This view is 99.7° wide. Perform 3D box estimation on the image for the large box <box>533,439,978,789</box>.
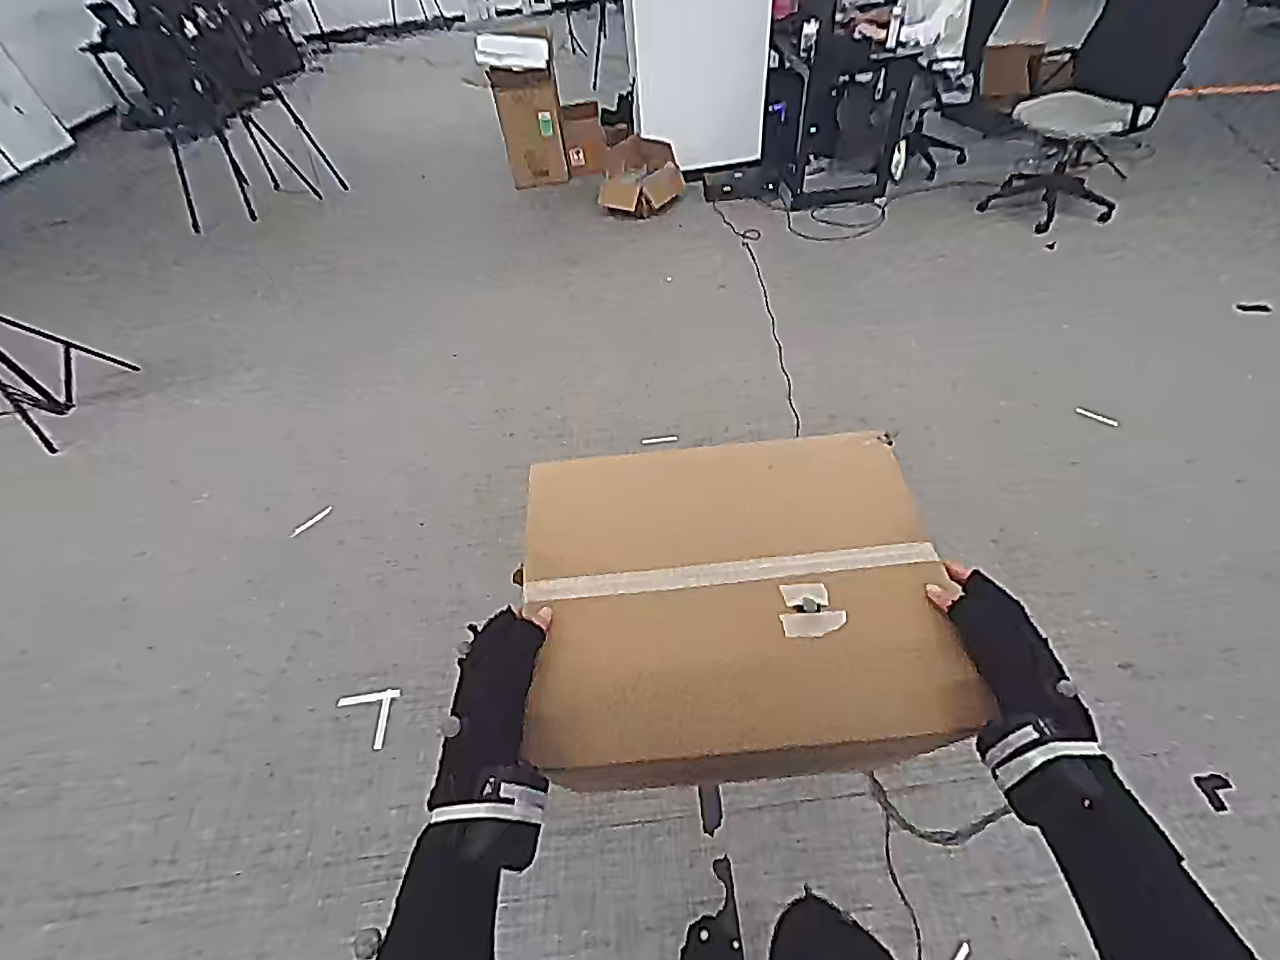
[{"bbox_3d":[0.095,0.181,0.676,0.408,0.320,0.320,-5,57,0],"label":"large box"}]
